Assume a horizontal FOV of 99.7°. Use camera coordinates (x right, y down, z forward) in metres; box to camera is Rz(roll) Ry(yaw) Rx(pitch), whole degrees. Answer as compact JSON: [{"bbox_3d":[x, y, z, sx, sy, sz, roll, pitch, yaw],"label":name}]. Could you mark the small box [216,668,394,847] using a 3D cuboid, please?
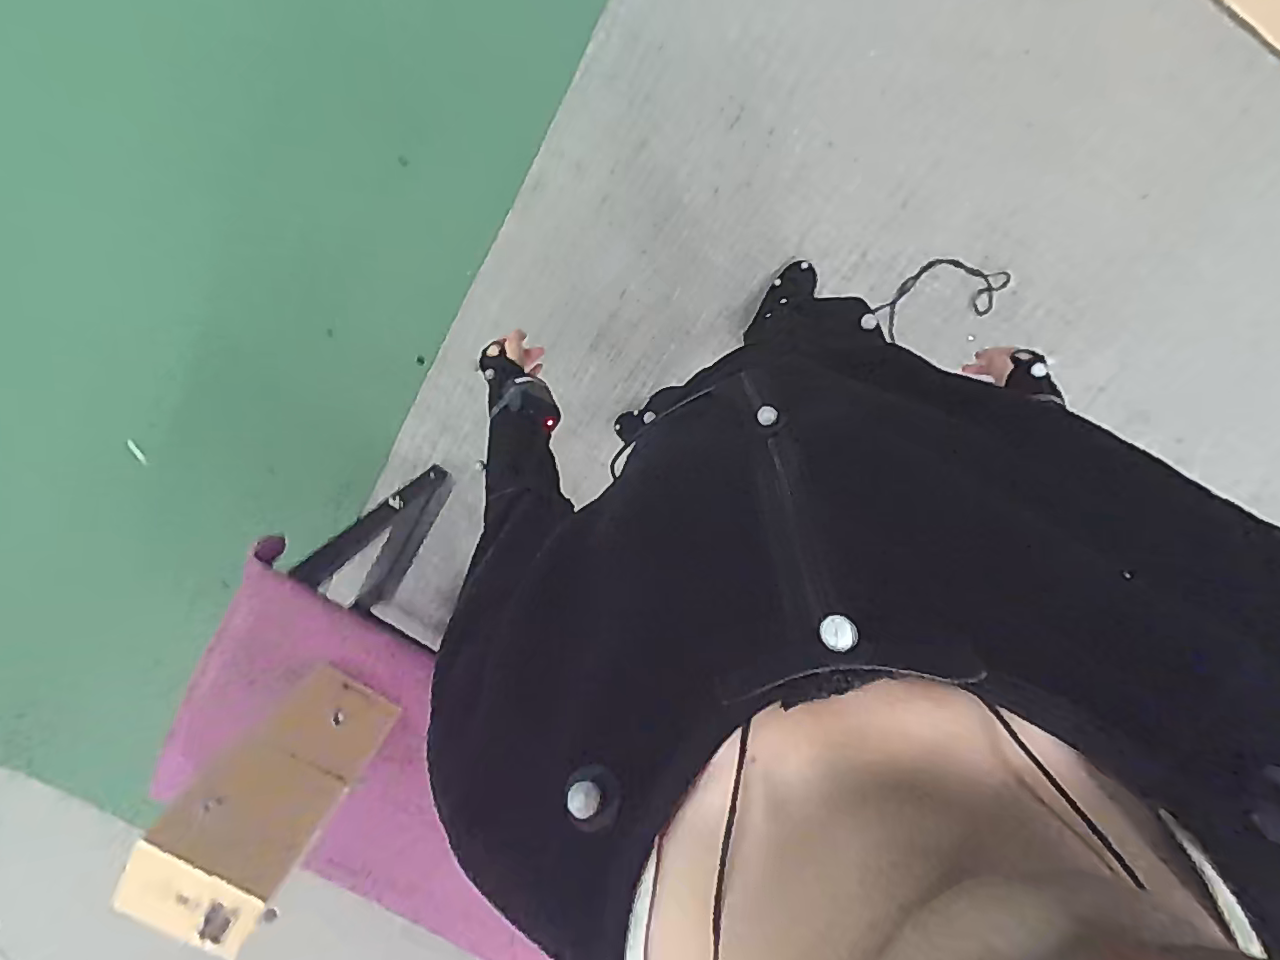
[{"bbox_3d":[-0.548,0.456,0.908,0.168,0.176,0.179,35,110,-8],"label":"small box"}]
